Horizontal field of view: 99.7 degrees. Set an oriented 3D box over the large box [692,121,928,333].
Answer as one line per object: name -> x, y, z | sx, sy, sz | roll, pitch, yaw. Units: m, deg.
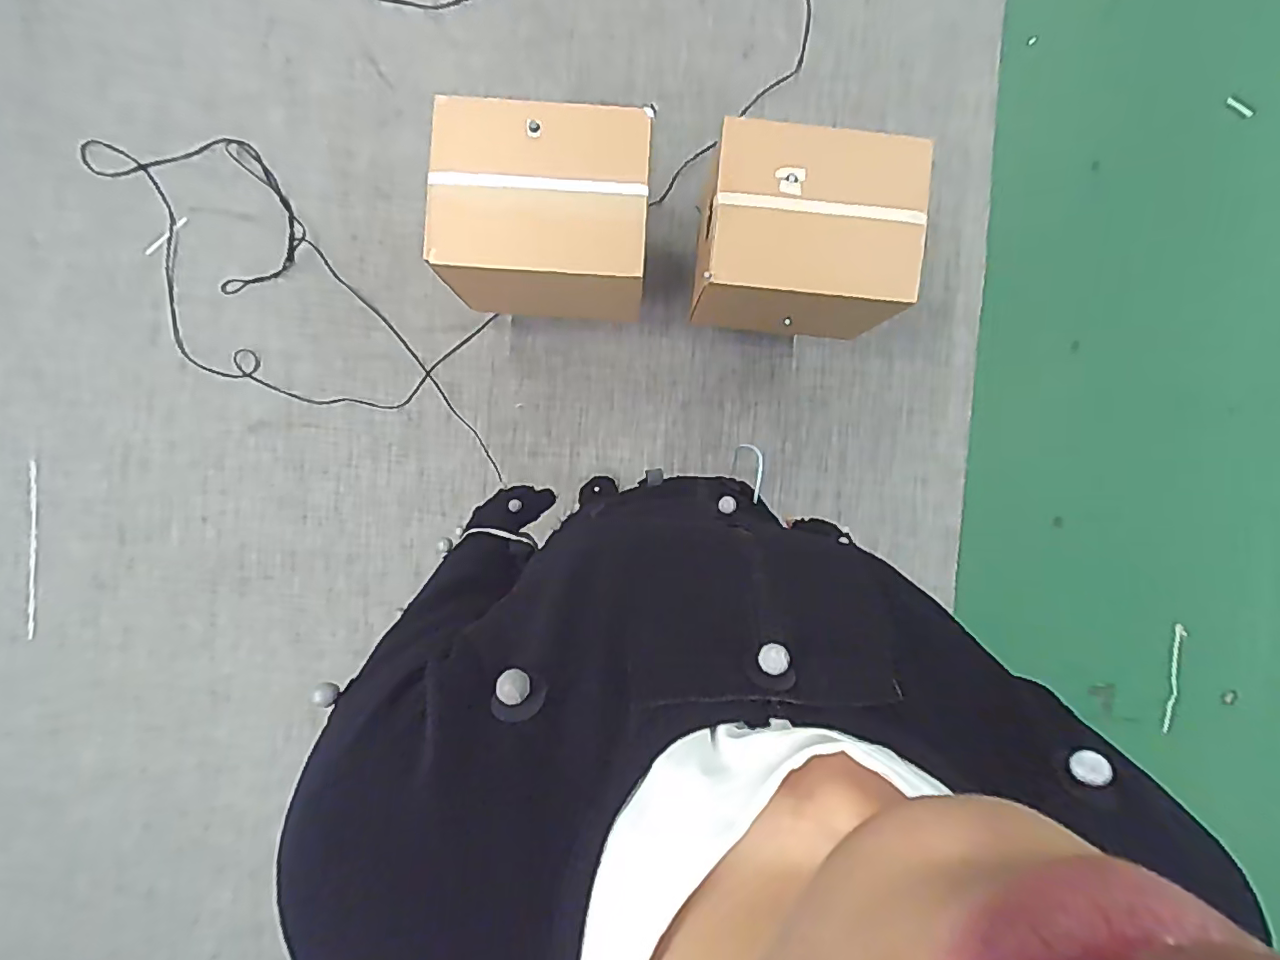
large box -> 0.341, -0.519, 1.180 | 0.408, 0.320, 0.320 | 5, 91, -1
